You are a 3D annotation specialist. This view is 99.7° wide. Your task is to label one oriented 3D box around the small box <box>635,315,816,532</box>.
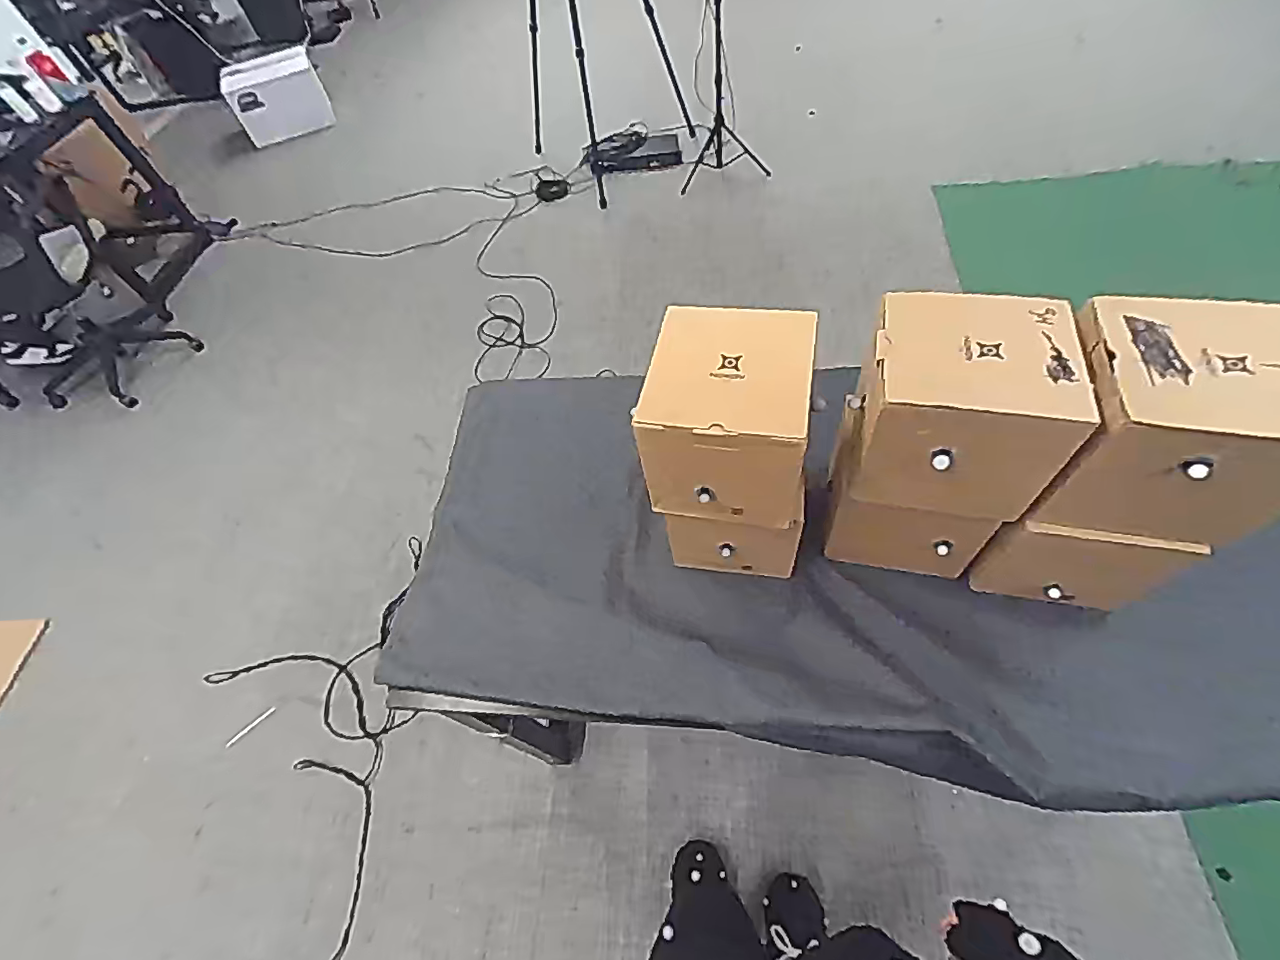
[{"bbox_3d":[0.102,-0.063,0.621,0.168,0.176,0.179,6,59,14],"label":"small box"}]
